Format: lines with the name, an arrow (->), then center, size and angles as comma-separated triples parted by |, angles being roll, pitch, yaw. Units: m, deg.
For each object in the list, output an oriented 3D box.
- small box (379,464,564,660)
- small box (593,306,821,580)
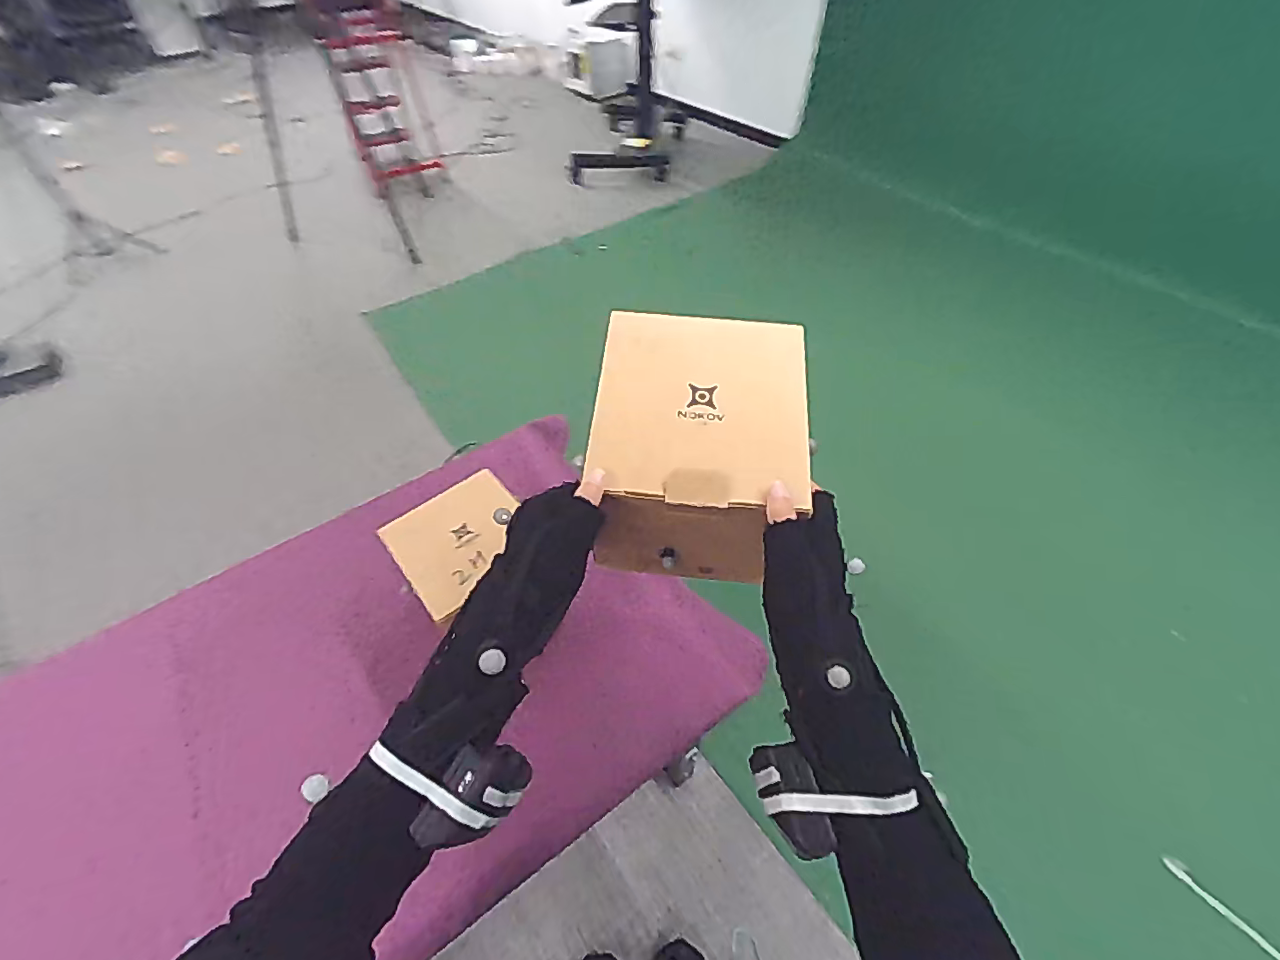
small box -> -0.226, 0.117, 0.758 | 0.168, 0.176, 0.179 | -34, 58, -23
small box -> 0.054, -0.025, 0.488 | 0.168, 0.176, 0.179 | 7, 64, 2
